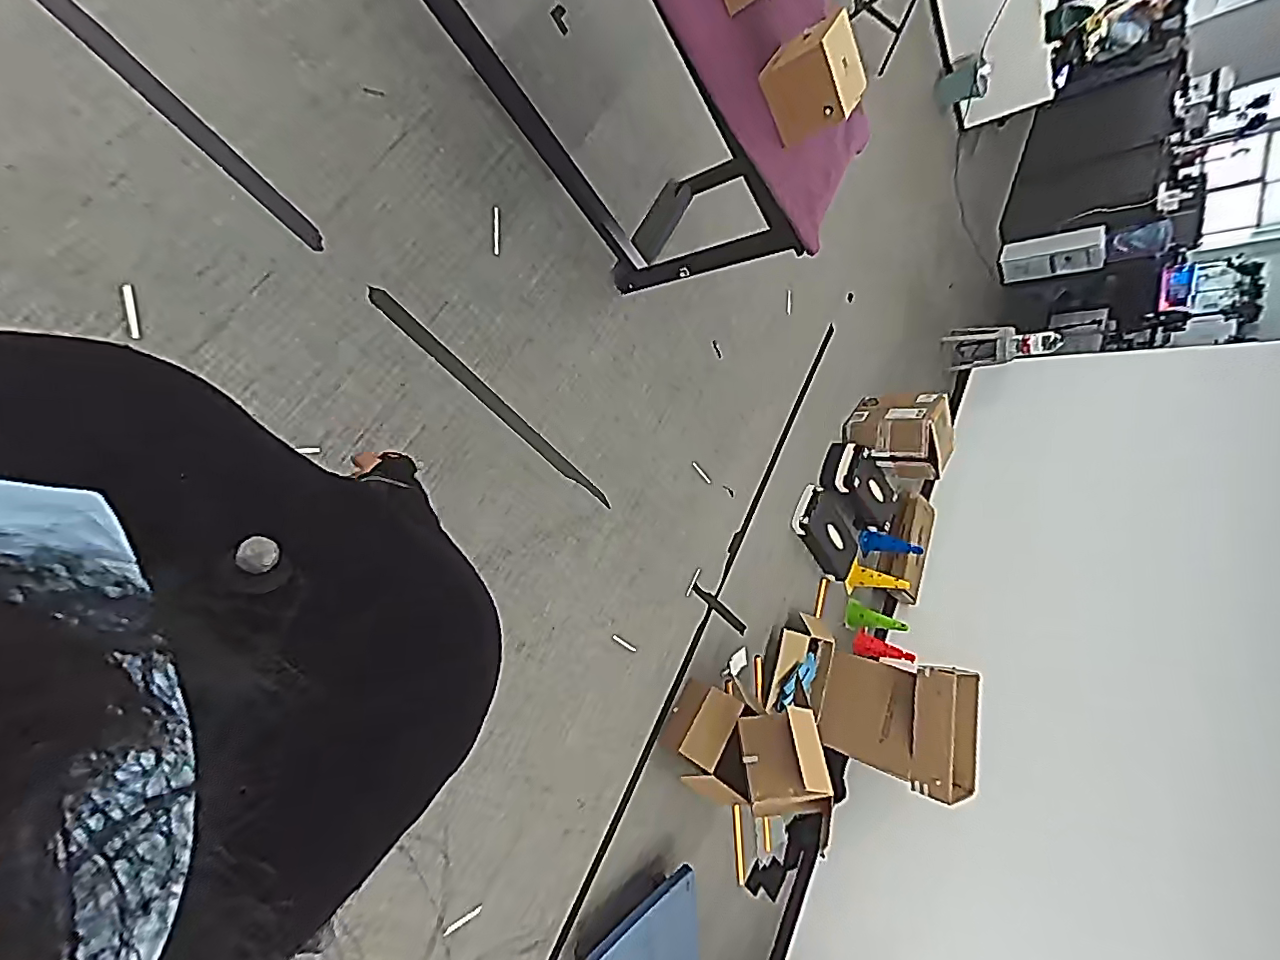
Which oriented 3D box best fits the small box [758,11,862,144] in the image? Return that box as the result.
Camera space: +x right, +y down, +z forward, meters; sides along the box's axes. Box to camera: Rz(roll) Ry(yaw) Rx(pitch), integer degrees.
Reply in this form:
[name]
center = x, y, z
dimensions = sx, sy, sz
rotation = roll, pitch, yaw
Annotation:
[small box]
center = 0.409, -0.960, 1.305
dimensions = 0.179, 0.176, 0.168
rotation = 48, 60, -36
